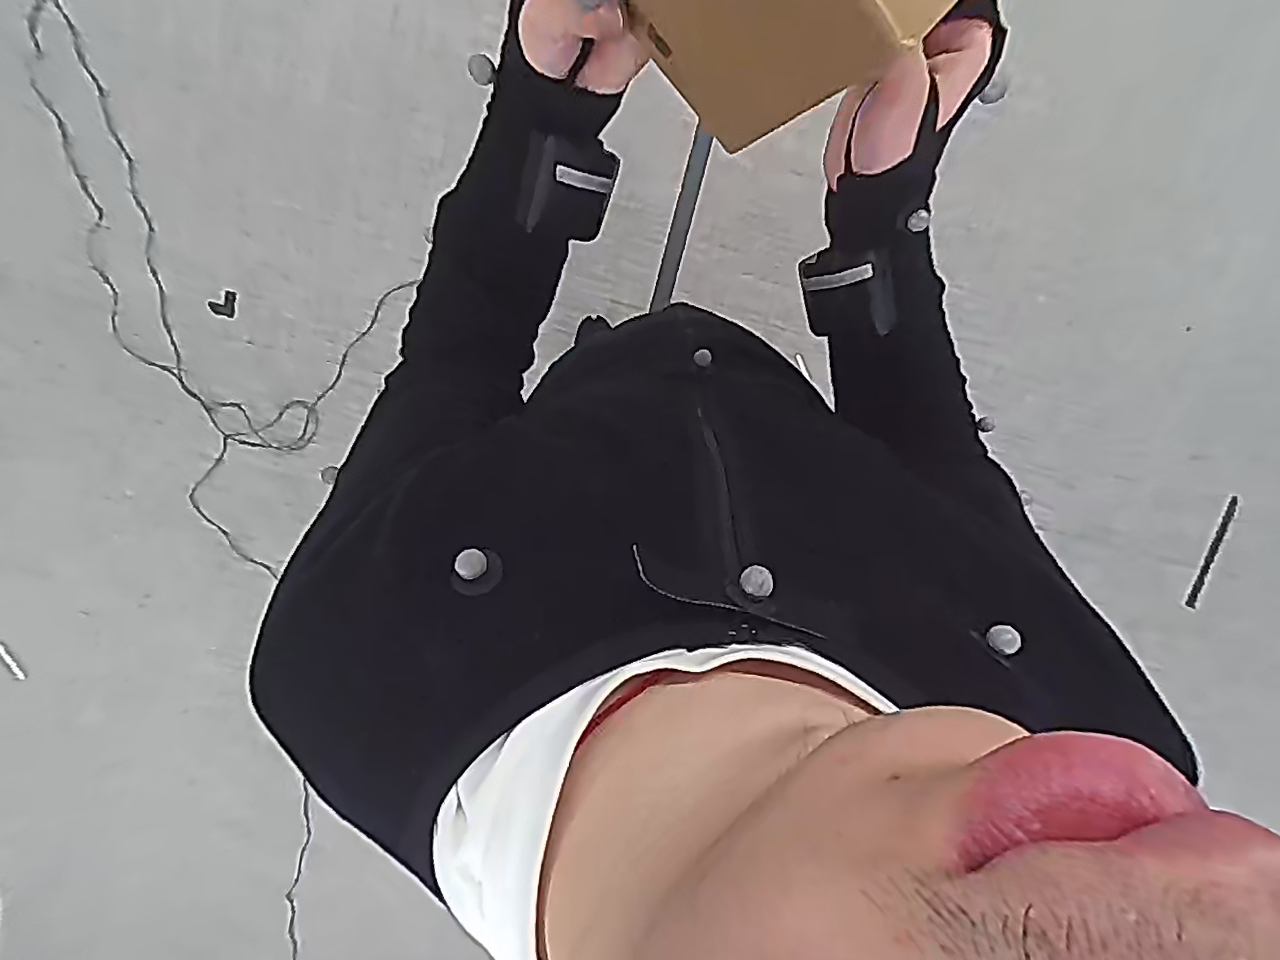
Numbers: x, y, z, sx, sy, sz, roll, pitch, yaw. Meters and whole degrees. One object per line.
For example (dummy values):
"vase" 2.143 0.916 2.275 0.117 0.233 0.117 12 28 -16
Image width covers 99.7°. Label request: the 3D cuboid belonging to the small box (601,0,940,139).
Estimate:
"small box" 0.060 -0.260 0.182 0.168 0.176 0.179 39 103 -20
